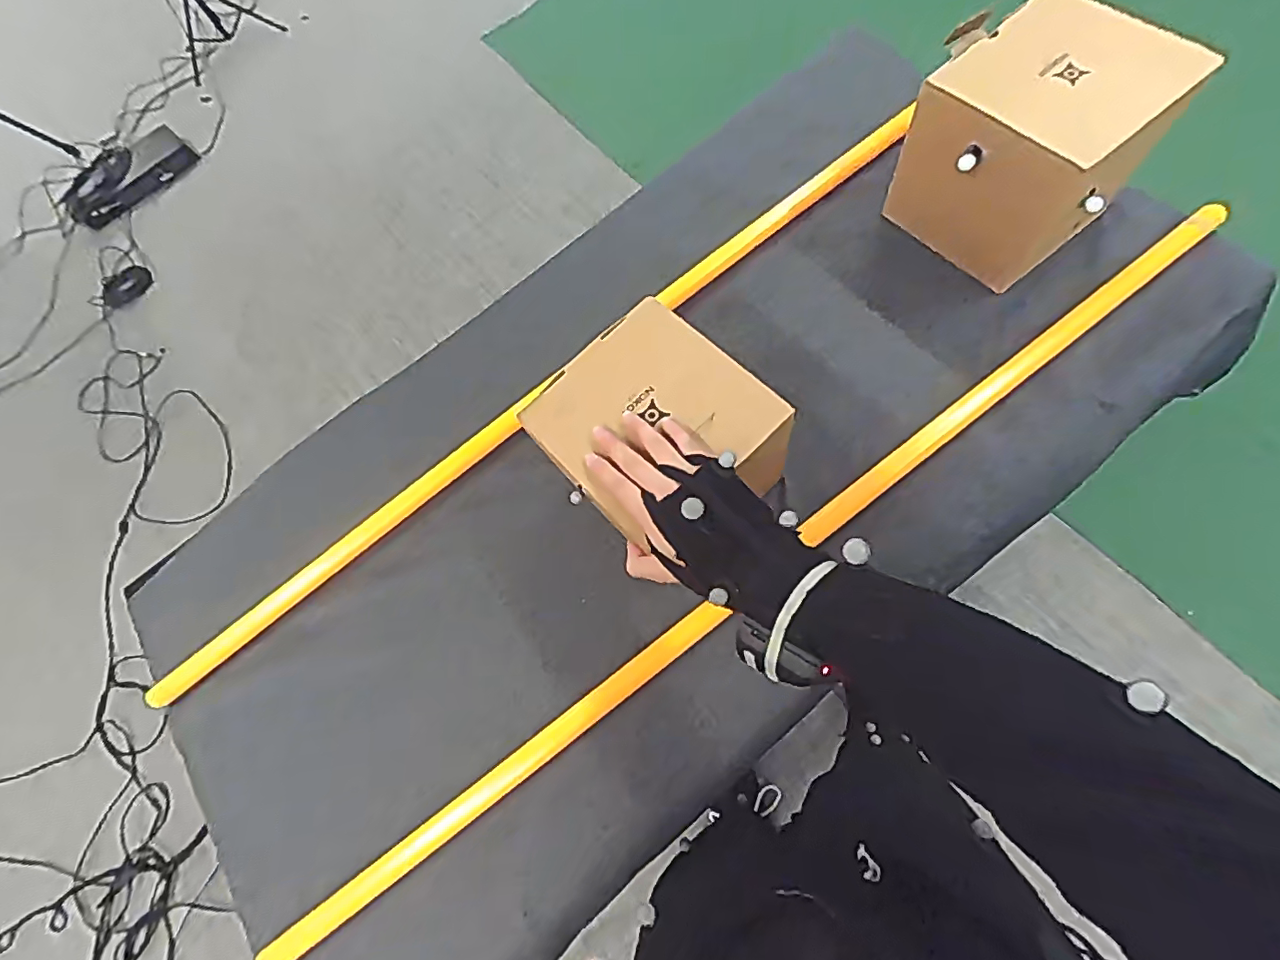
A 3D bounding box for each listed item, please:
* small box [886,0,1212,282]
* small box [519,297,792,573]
[{"bbox_3d":[0.396,-0.340,0.566,0.168,0.176,0.179,-39,68,-4],"label":"small box"},{"bbox_3d":[0.021,-0.031,0.525,0.168,0.176,0.179,-44,69,-6],"label":"small box"}]
